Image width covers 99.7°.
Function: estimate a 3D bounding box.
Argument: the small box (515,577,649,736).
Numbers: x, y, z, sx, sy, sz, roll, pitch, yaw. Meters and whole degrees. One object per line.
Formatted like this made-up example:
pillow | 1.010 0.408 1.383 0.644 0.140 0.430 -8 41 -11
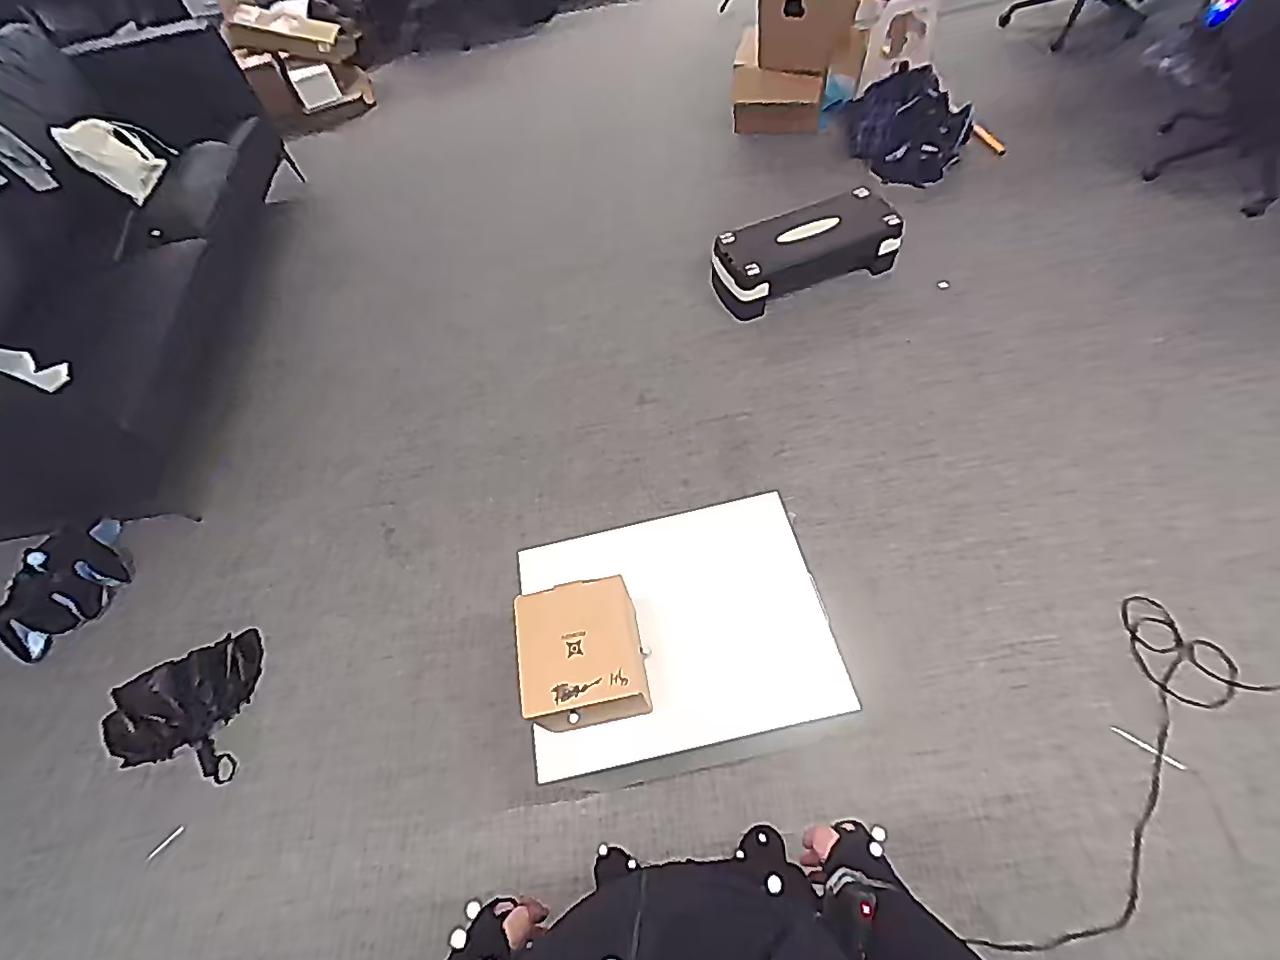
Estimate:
small box | -0.086 0.275 0.832 0.168 0.176 0.179 -13 57 -1
